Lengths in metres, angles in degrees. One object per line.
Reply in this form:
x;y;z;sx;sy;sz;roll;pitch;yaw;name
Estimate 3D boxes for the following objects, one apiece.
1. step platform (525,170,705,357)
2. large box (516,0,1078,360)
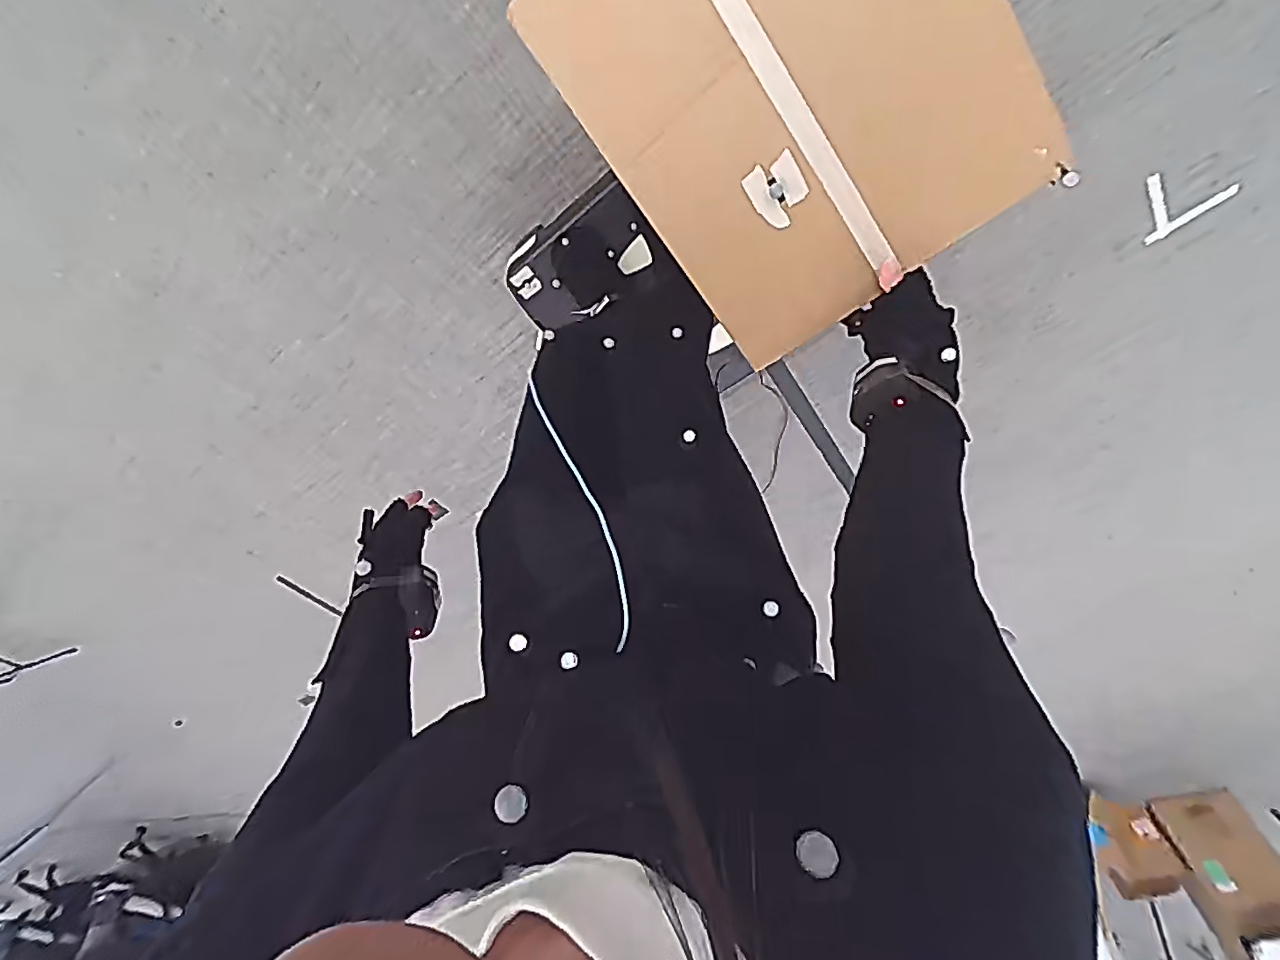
0.084;-0.559;1.109;0.684;0.204;0.286;-32;122;23;step platform
0.155;-0.417;0.587;0.320;0.320;0.408;-31;109;30;large box
